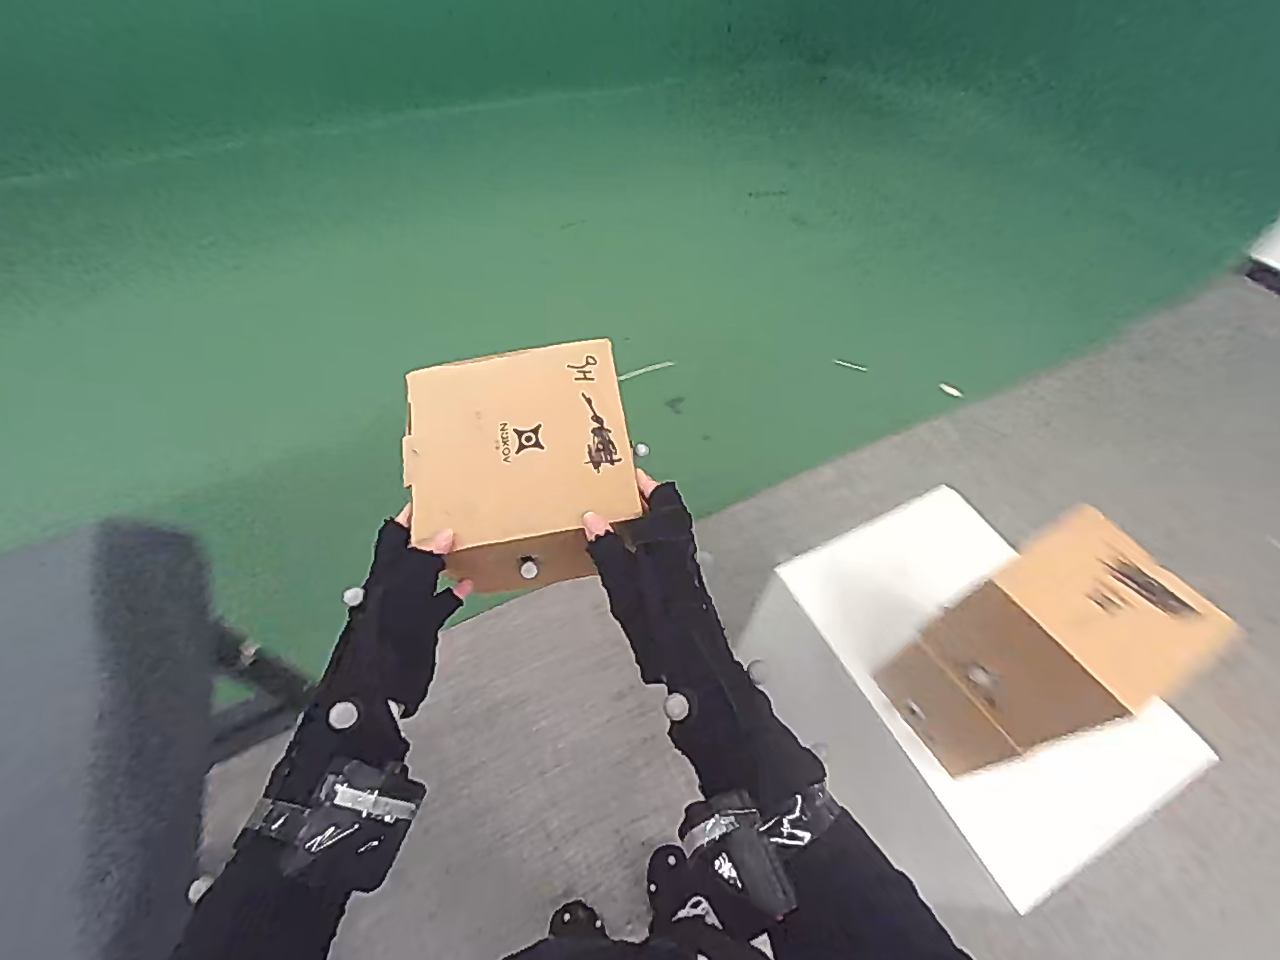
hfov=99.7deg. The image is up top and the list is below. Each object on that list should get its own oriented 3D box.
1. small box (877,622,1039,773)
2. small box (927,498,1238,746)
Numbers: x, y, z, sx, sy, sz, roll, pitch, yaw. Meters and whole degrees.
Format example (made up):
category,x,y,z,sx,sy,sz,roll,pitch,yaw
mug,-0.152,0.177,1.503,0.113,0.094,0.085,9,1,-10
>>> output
category,x,y,z,sx,sy,sz,roll,pitch,yaw
small box,0.456,0.258,0.723,0.179,0.176,0.168,-27,58,-17
small box,0.460,0.157,0.593,0.179,0.176,0.168,-27,59,-21
